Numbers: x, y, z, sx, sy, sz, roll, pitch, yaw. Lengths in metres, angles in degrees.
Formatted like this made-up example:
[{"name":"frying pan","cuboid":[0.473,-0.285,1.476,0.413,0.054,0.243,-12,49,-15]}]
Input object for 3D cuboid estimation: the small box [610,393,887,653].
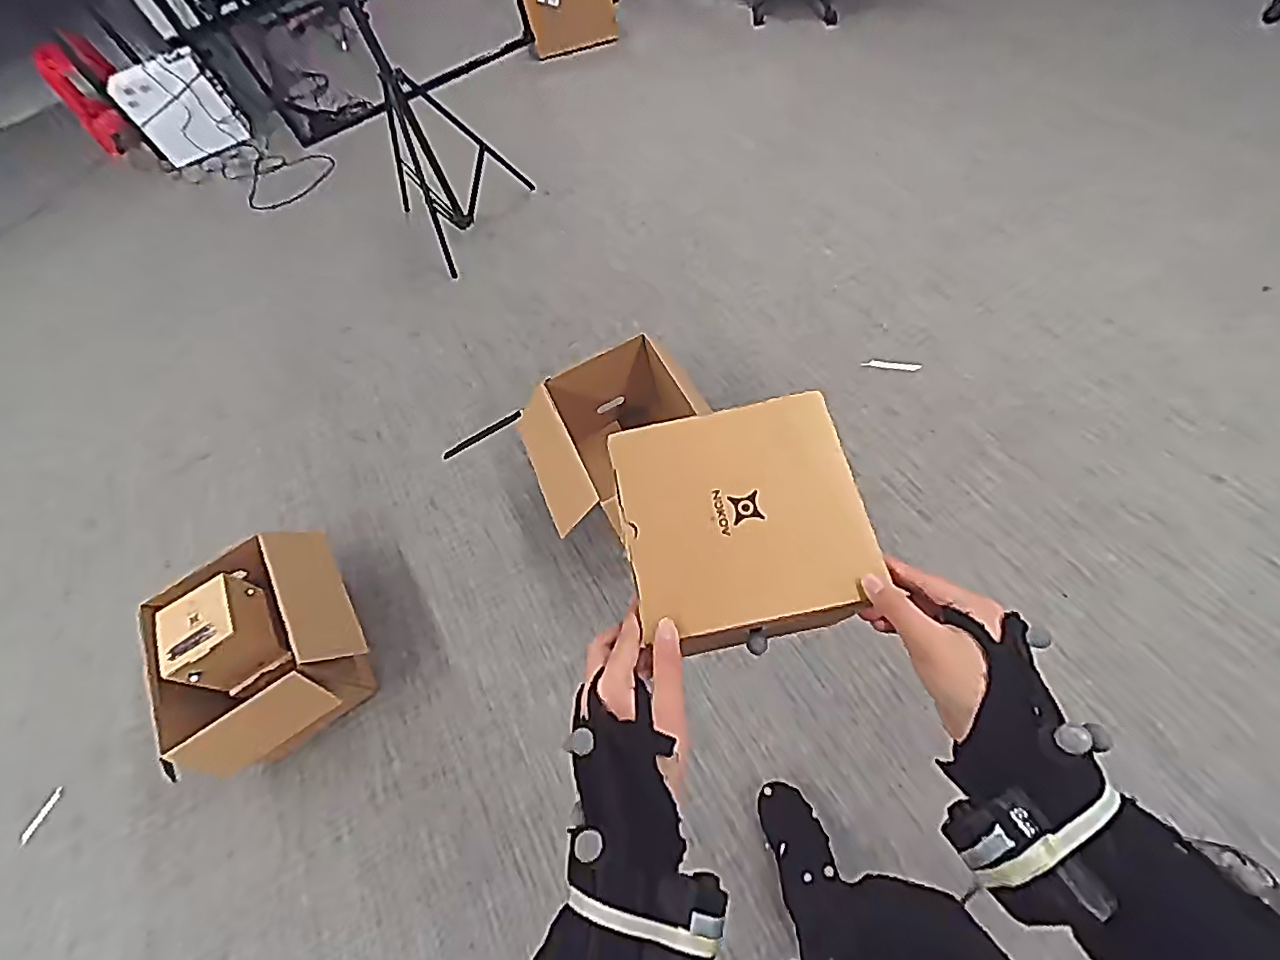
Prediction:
[{"name":"small box","cuboid":[0.080,0.049,0.477,0.179,0.176,0.168,-12,67,1]}]
